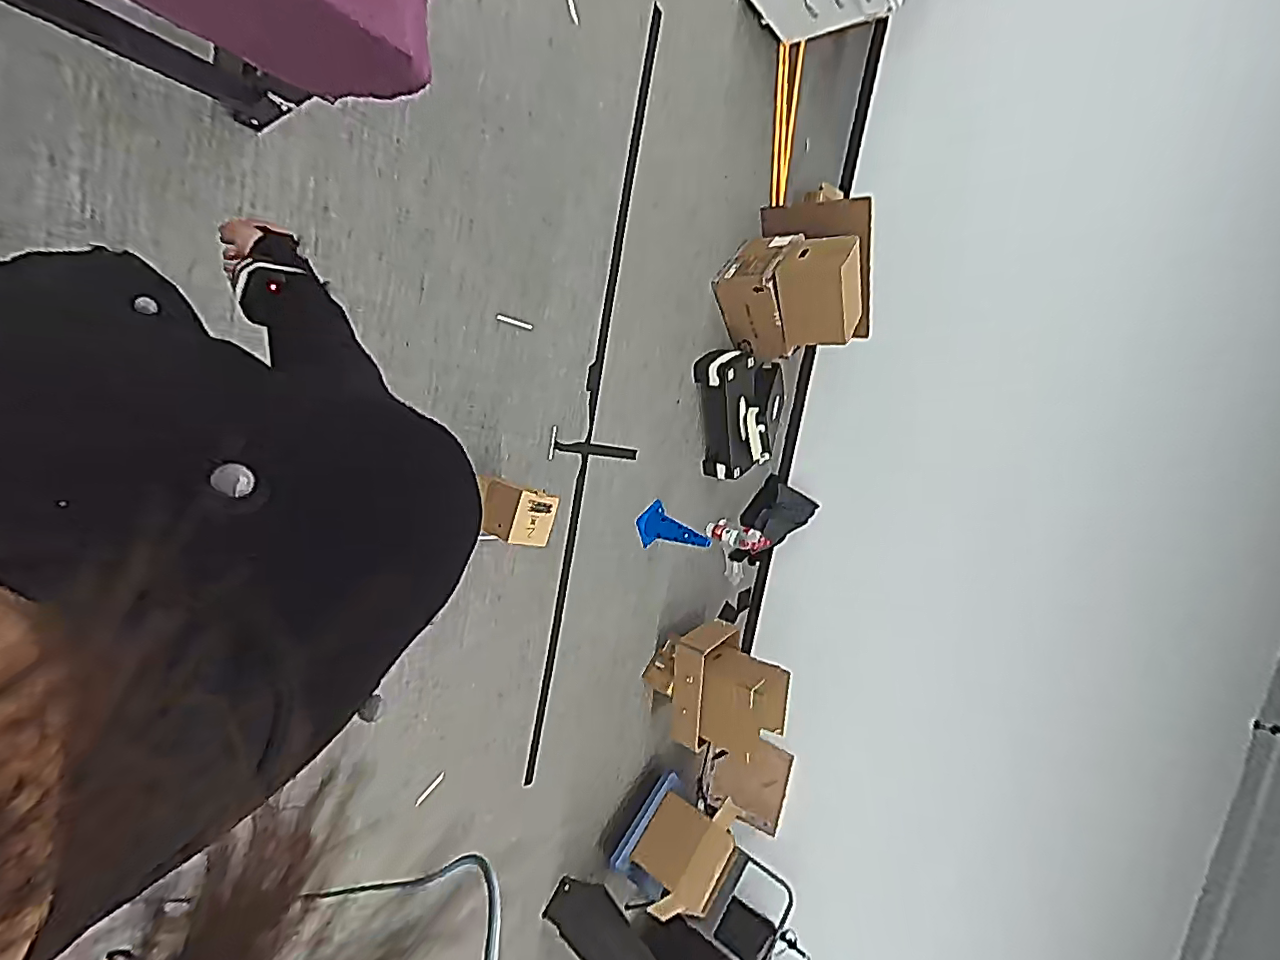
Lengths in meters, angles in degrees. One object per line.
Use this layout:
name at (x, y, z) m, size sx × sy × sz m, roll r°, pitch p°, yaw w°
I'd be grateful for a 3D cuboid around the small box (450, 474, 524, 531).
small box at (-0.544, 0.079, 1.911) m, size 0.179 × 0.176 × 0.168 m, roll 9°, pitch 96°, yaw -52°
